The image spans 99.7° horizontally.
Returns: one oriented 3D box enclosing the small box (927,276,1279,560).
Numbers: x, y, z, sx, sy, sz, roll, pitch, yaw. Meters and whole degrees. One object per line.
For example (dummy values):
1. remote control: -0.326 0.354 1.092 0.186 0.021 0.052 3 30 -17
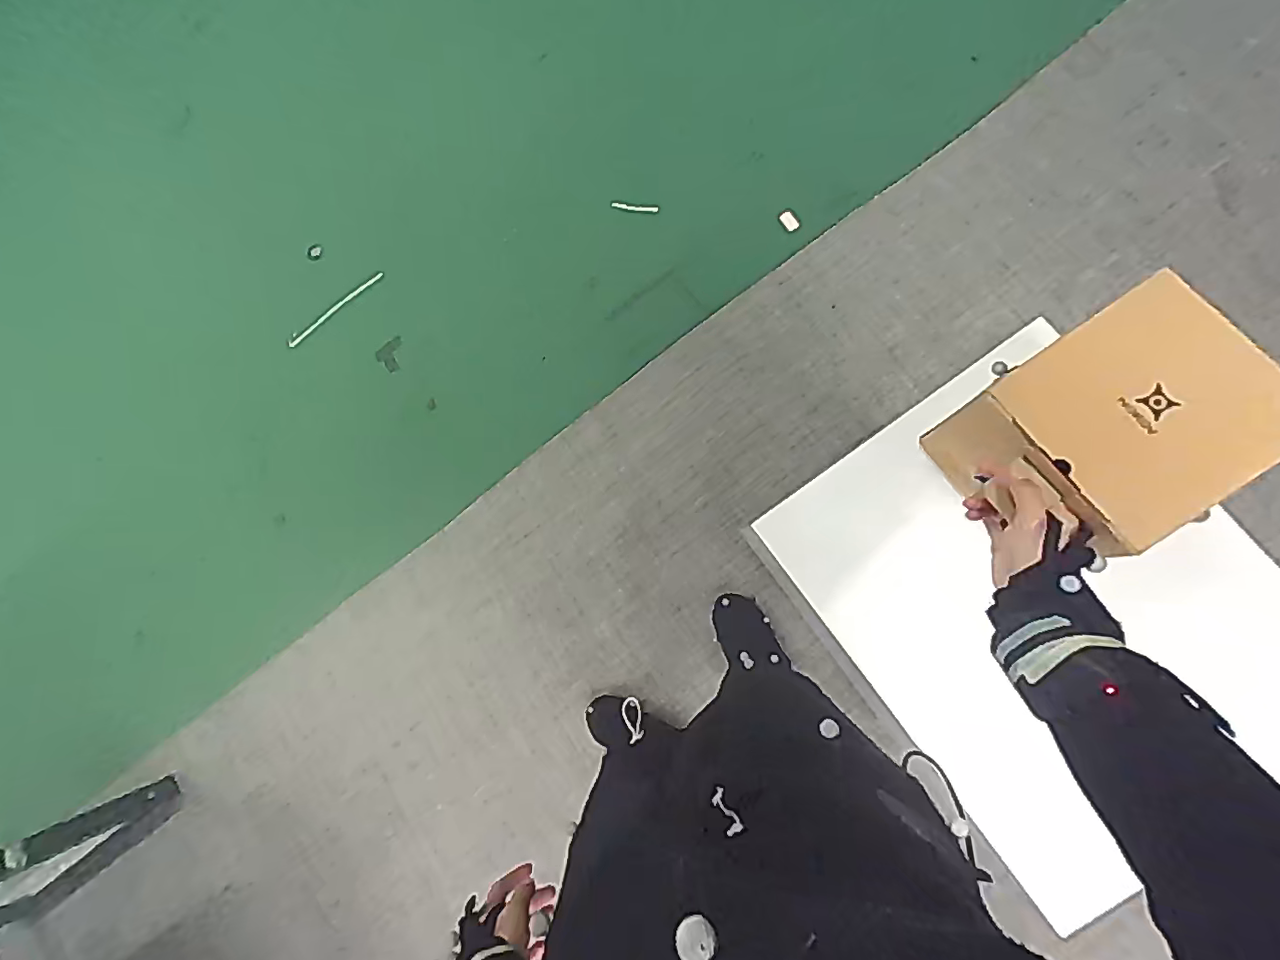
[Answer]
1. small box: 0.411 -0.041 0.500 0.179 0.176 0.168 -35 78 3
